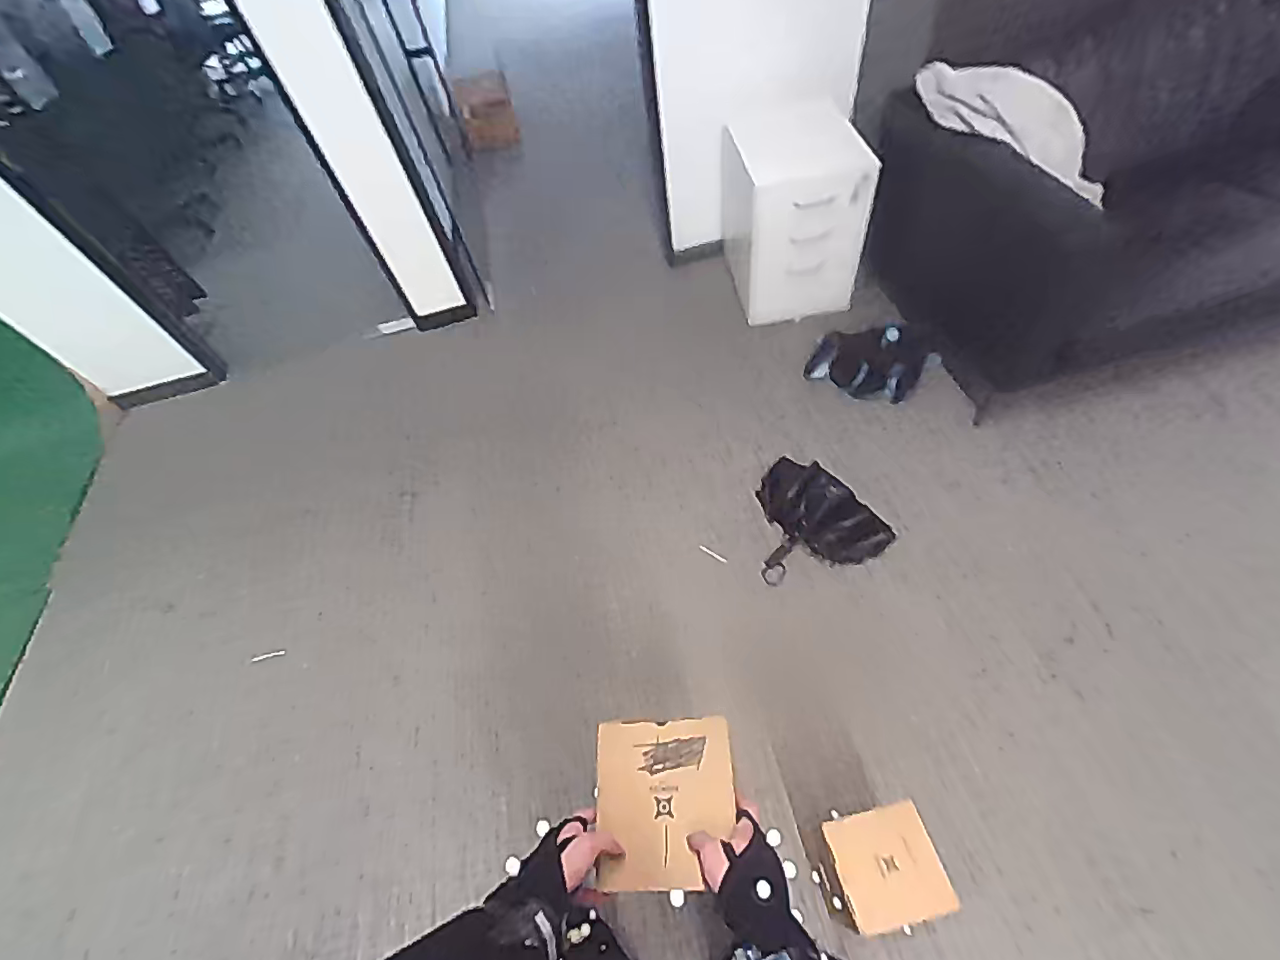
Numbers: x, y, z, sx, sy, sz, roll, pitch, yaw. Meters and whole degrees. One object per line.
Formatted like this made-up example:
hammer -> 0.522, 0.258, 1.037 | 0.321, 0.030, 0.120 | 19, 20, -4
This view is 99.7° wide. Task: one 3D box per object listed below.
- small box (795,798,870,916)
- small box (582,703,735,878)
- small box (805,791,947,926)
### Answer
small box -> 0.437, 0.788, 1.134 | 0.179, 0.176, 0.168 | -16, 55, -2
small box -> 0.029, 0.397, 0.689 | 0.168, 0.176, 0.179 | -6, 55, 8
small box -> 0.419, 0.697, 1.001 | 0.179, 0.176, 0.168 | -14, 56, -3
